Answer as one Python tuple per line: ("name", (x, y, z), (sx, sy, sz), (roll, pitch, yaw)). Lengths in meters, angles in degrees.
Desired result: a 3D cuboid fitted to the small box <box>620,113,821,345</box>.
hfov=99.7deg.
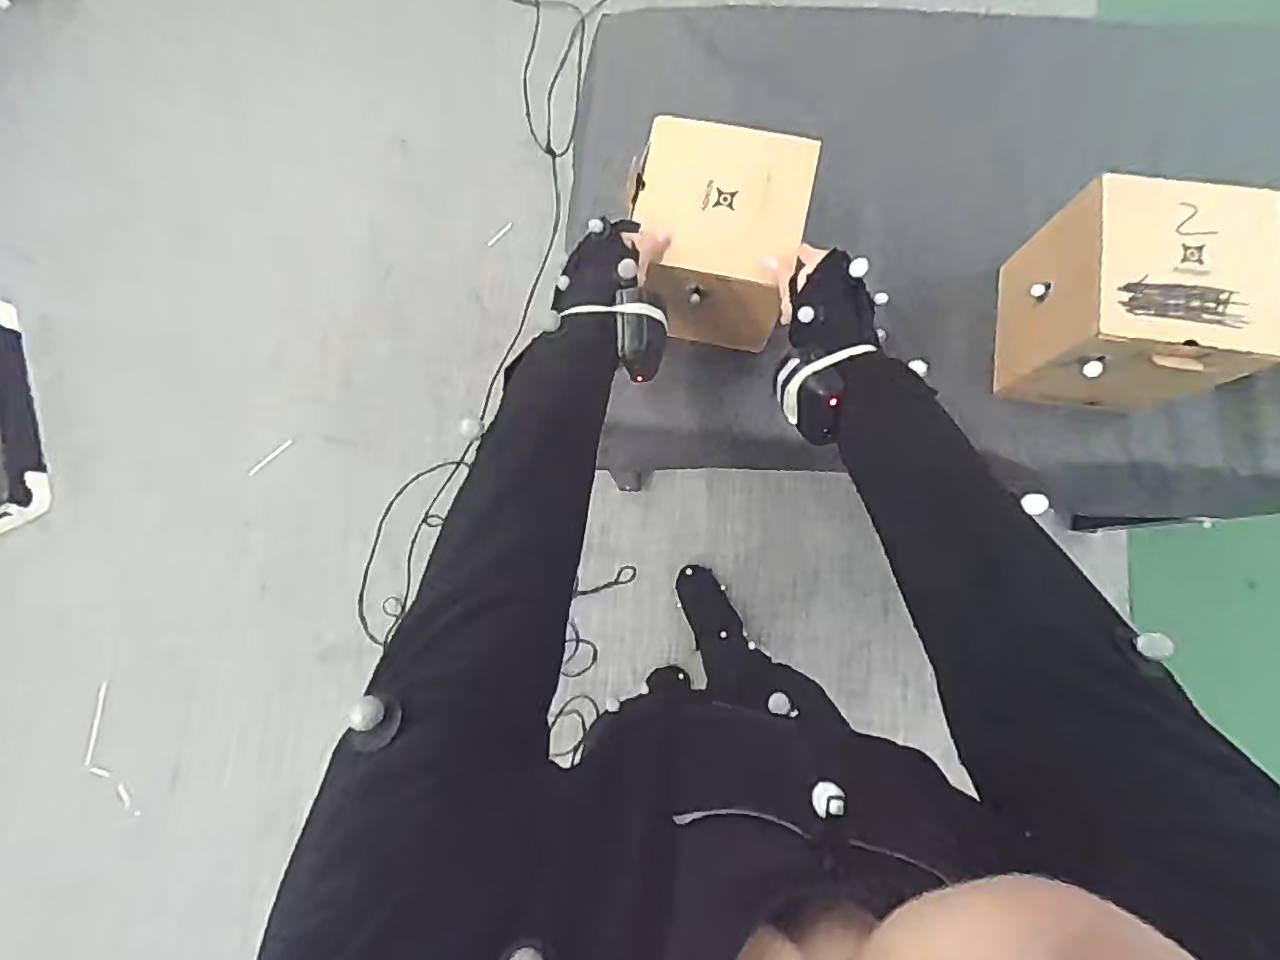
("small box", (0.085, -0.272, 0.620), (0.179, 0.176, 0.168), (12, 82, 4))
